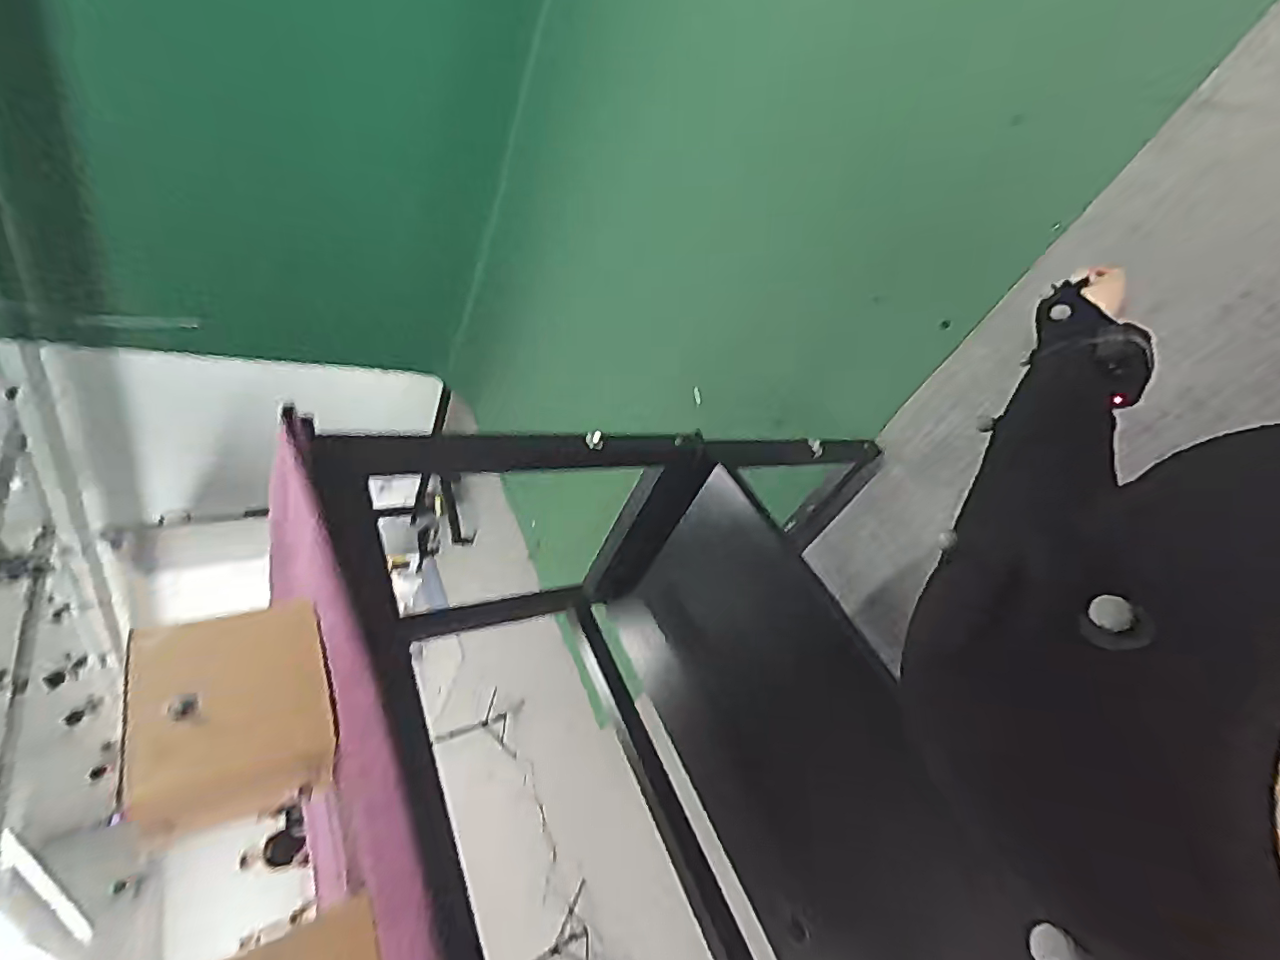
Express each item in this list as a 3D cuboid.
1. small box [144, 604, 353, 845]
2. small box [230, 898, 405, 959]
[{"bbox_3d":[-0.435,0.267,0.617,0.179,0.176,0.168,58,137,31],"label":"small box"},{"bbox_3d":[-0.275,0.476,0.430,0.179,0.176,0.168,55,134,33],"label":"small box"}]
